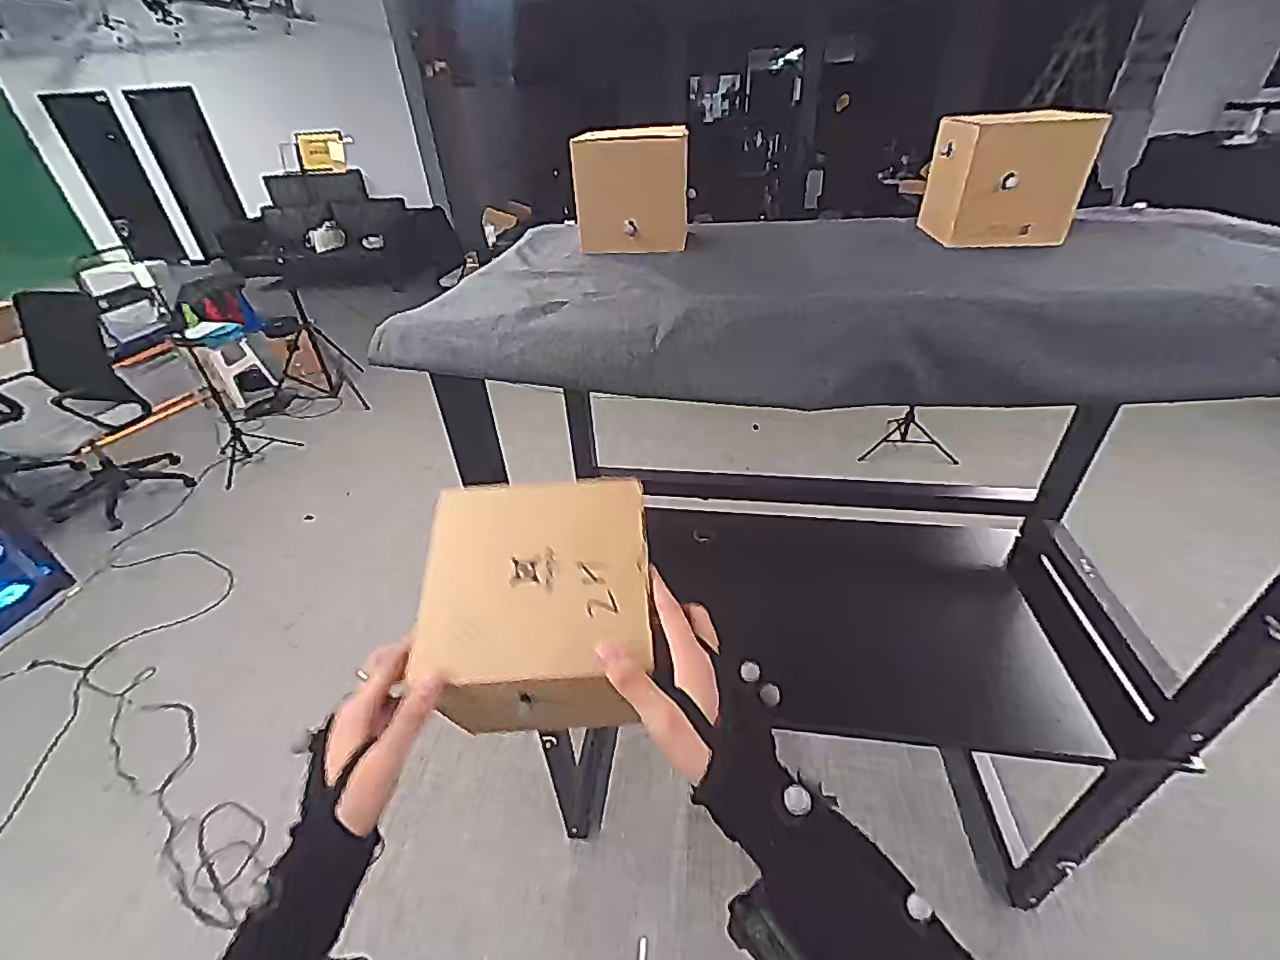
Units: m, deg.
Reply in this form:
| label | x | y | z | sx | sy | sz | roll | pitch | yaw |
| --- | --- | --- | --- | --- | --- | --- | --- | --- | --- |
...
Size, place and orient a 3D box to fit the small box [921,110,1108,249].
| label | x | y | z | sx | sy | sz | roll | pitch | yaw |
| --- | --- | --- | --- | --- | --- | --- | --- | --- | --- |
| small box | 0.563 | -0.466 | 0.844 | 0.168 | 0.176 | 0.179 | 2 | 36 | 8 |

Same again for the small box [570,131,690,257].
| label | x | y | z | sx | sy | sz | roll | pitch | yaw |
| --- | --- | --- | --- | --- | --- | --- | --- | --- | --- |
| small box | -0.009 | -0.485 | 0.918 | 0.179 | 0.176 | 0.168 | 2 | 36 | 6 |
